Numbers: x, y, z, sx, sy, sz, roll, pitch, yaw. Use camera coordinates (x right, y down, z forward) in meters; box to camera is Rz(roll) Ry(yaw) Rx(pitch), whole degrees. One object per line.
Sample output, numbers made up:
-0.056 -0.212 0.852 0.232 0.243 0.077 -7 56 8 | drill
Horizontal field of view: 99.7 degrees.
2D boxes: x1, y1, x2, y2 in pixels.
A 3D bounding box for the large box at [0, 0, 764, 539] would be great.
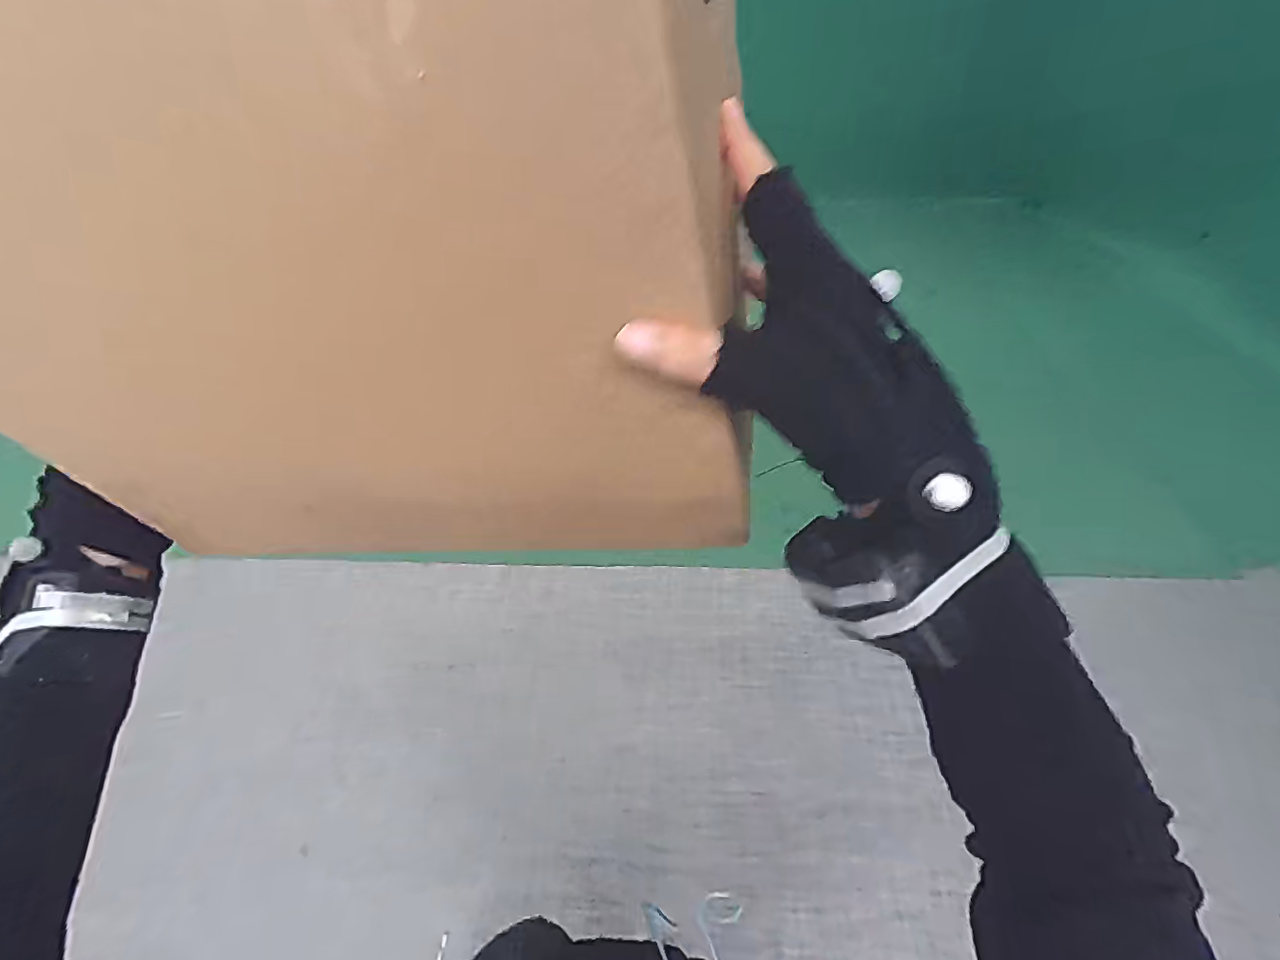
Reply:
-0.135 -0.174 0.341 0.408 0.320 0.320 -2 50 14 | large box
